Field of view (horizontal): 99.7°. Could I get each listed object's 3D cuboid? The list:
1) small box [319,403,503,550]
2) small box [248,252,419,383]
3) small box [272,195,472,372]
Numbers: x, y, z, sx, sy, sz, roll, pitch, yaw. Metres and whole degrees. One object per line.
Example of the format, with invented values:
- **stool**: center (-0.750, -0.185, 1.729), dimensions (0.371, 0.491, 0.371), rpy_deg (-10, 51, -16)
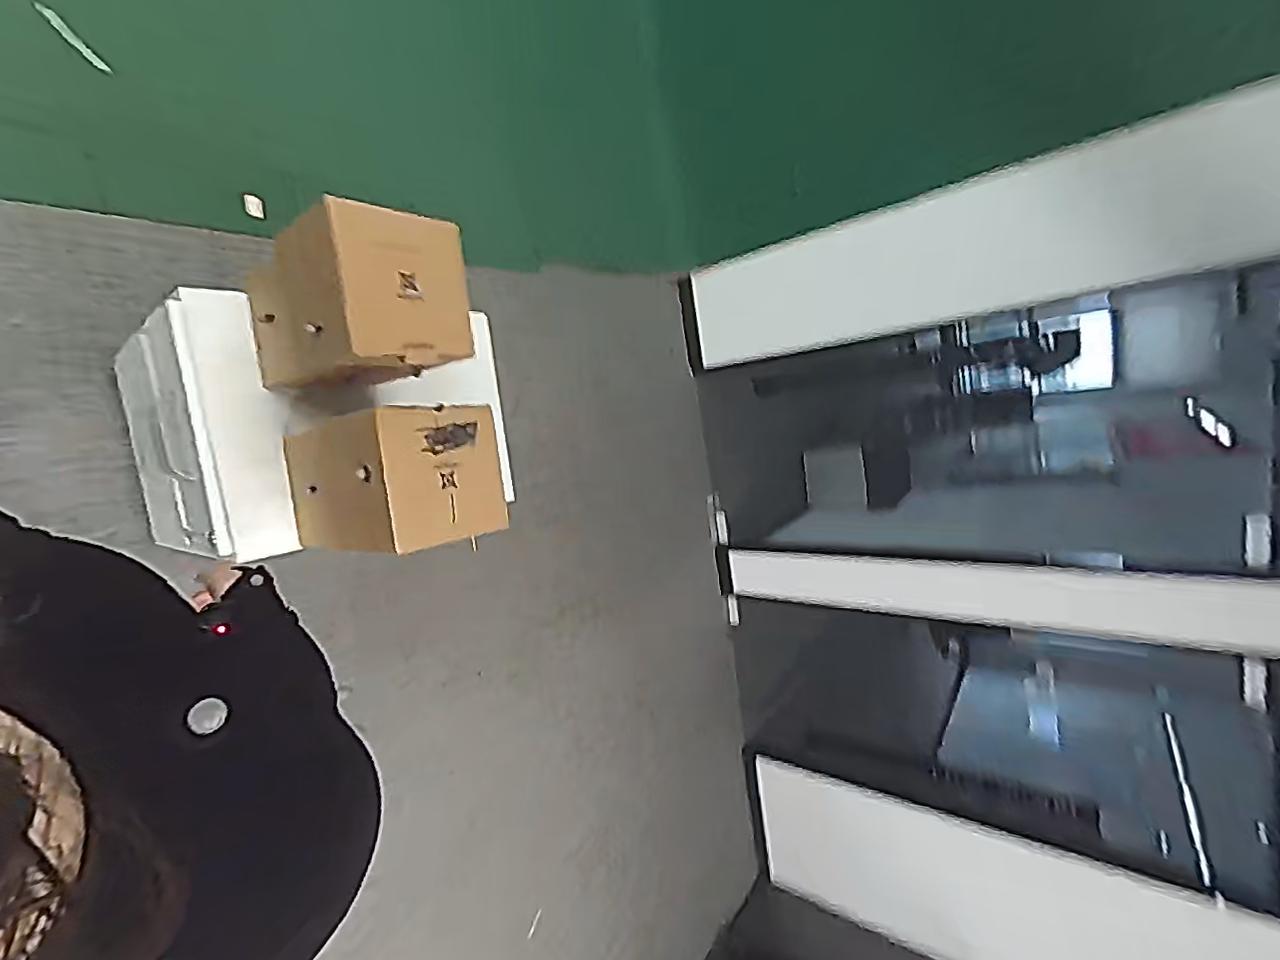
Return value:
- **small box**: center (-0.314, -0.006, 0.740), dimensions (0.168, 0.176, 0.179), rpy_deg (-11, 96, -51)
- **small box**: center (-0.466, -0.238, 0.821), dimensions (0.179, 0.176, 0.168), rpy_deg (-14, 102, -51)
- **small box**: center (-0.348, -0.237, 0.707), dimensions (0.168, 0.176, 0.179), rpy_deg (-16, 101, -52)
